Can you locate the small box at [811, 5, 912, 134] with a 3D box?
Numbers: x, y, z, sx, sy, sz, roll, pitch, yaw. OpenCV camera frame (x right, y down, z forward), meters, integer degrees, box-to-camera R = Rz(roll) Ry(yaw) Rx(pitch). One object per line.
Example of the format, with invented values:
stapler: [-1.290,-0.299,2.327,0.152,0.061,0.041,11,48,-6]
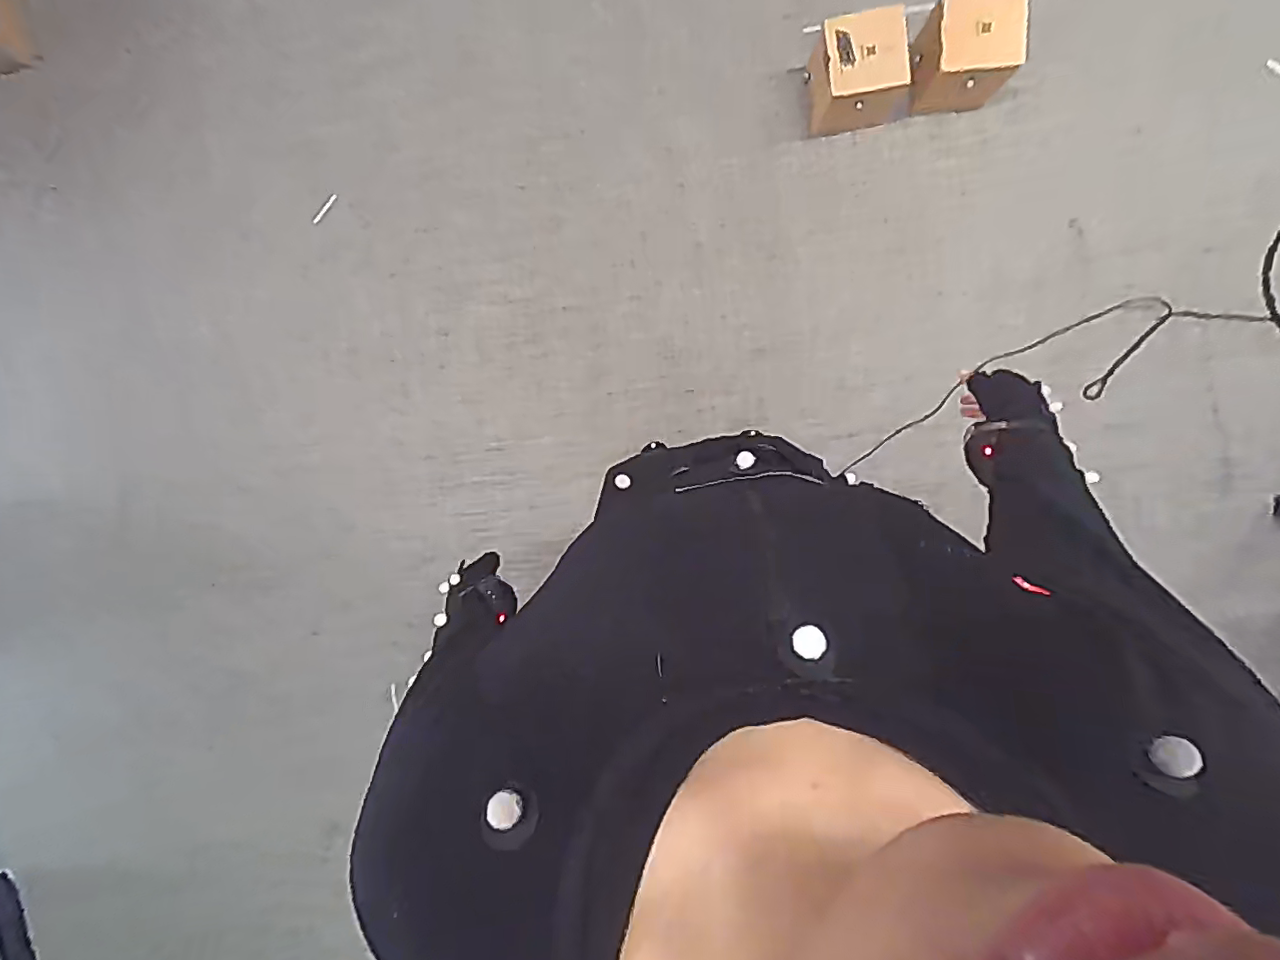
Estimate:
small box: [0.507,-0.944,1.262,0.179,0.176,0.168,-7,95,5]

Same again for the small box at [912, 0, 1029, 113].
small box: [0.749,-0.977,1.238,0.179,0.176,0.168,-2,96,6]
